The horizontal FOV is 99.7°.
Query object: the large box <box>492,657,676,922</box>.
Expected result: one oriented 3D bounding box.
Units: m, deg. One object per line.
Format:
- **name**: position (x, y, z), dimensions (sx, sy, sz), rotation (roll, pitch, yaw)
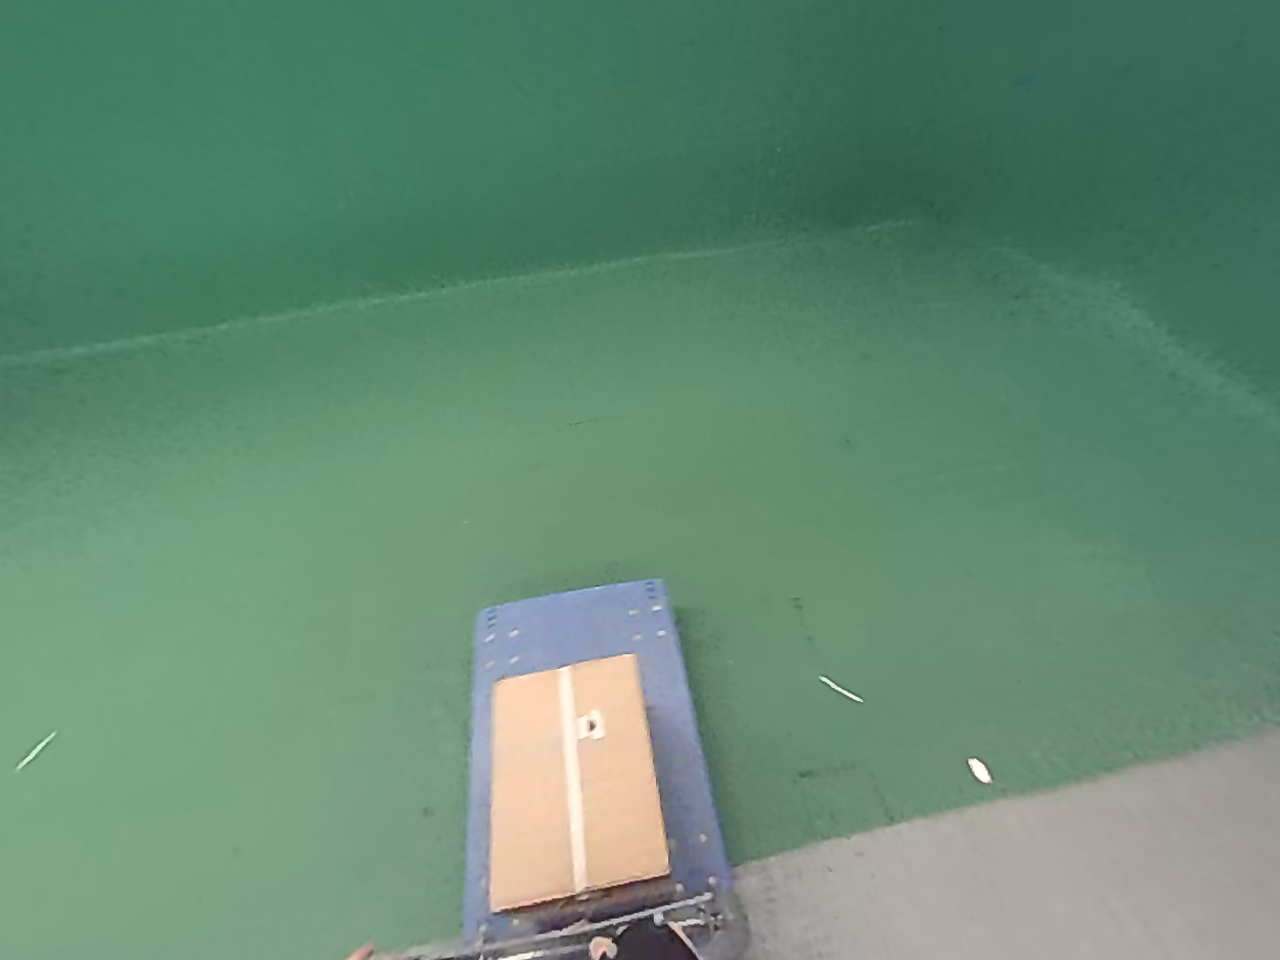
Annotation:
- **large box**: position (-0.115, 0.658, 1.160), dimensions (0.320, 0.320, 0.408), rotation (-9, 47, -2)
